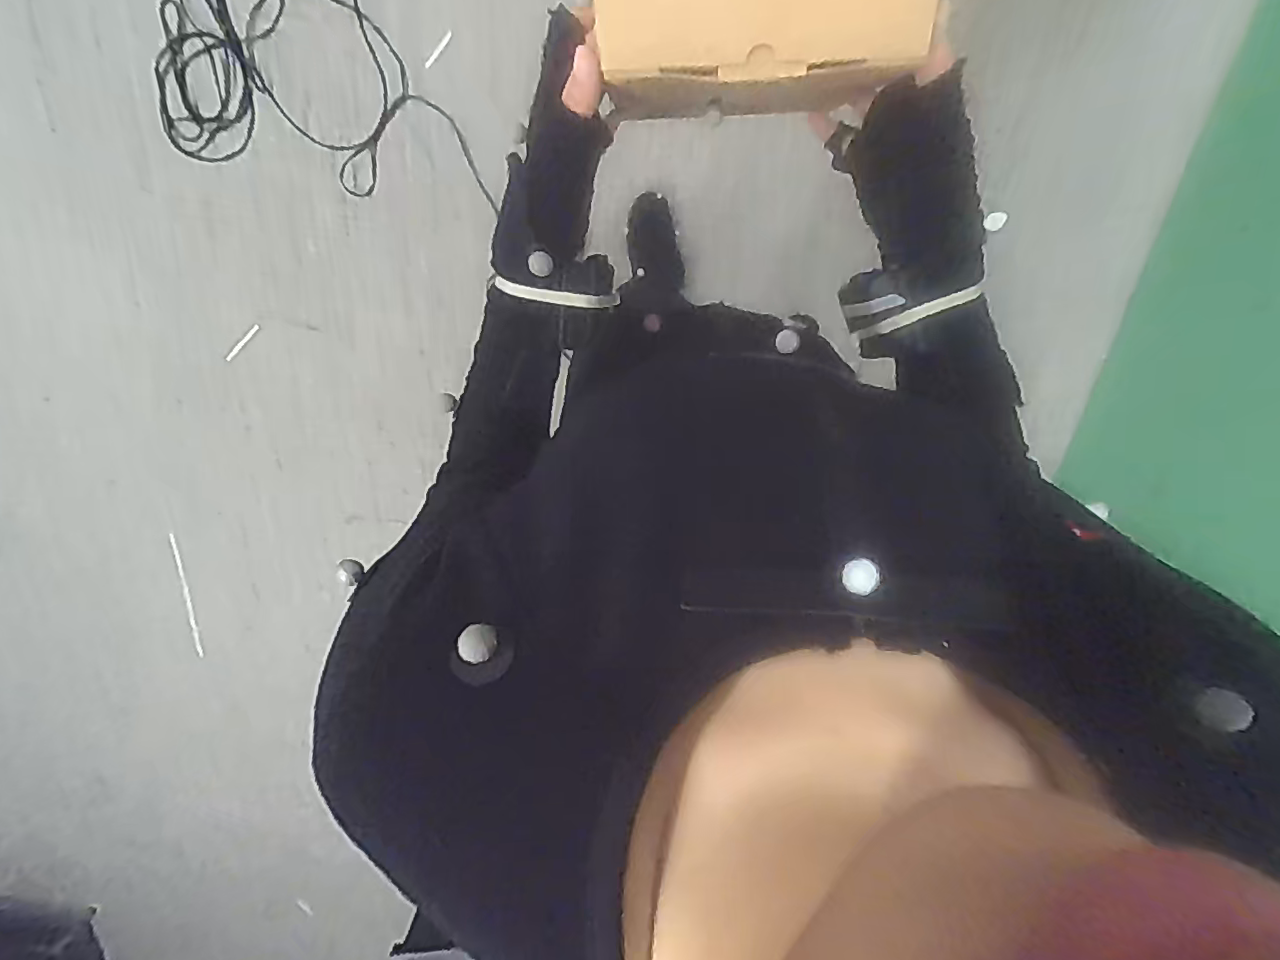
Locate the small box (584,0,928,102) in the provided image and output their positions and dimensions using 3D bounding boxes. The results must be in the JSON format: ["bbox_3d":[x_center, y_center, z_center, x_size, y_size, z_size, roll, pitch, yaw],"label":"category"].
[{"bbox_3d":[0.054,-0.327,0.295,0.168,0.176,0.179,-1,119,4],"label":"small box"}]
